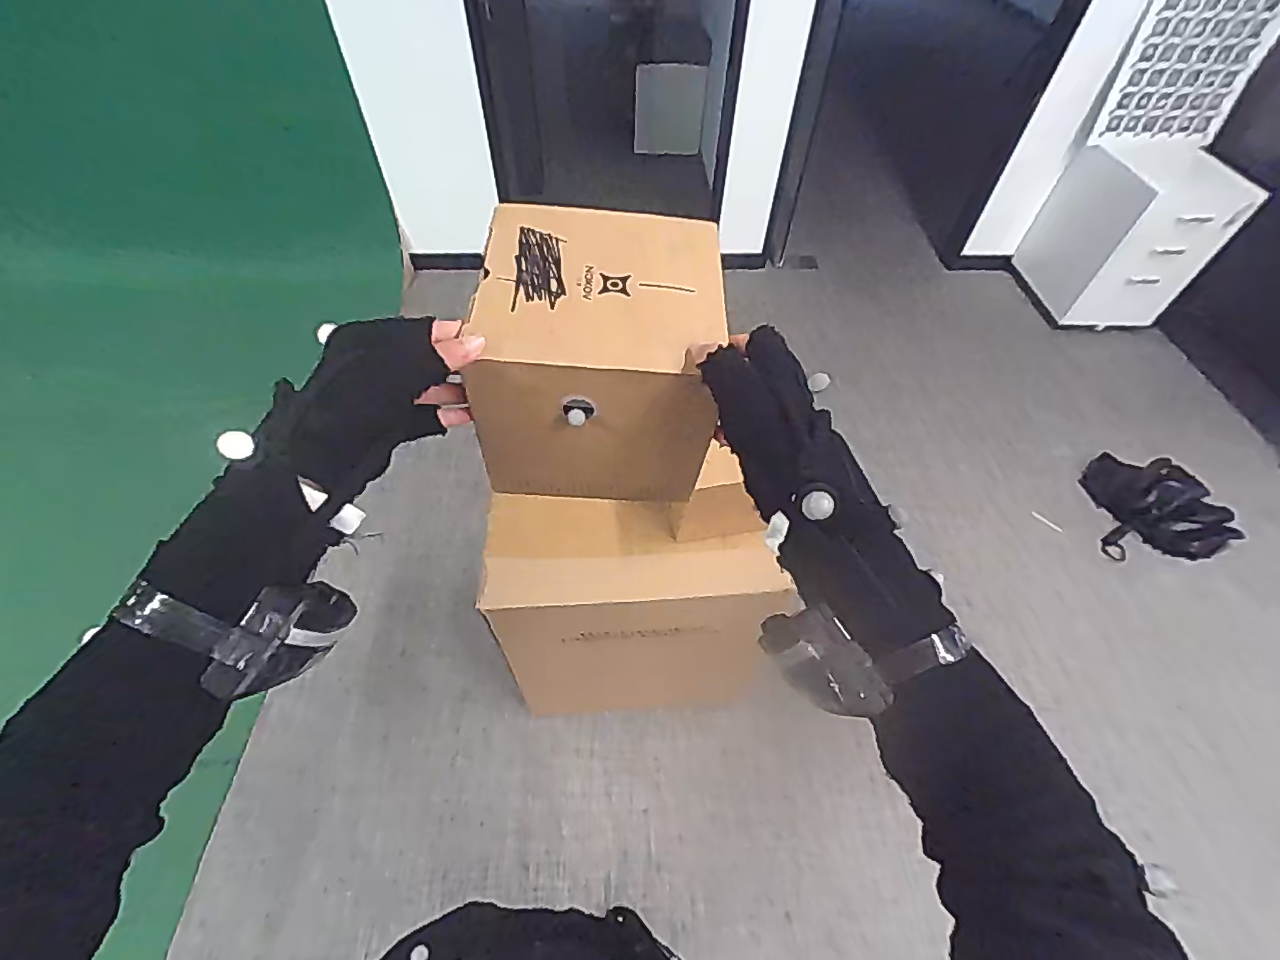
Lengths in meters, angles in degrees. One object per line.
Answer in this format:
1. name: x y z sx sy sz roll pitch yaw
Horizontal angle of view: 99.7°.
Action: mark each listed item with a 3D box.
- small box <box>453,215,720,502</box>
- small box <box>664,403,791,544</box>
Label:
1. small box: -0.038 -0.093 0.457 0.179 0.176 0.168 3 58 -4
2. small box: 0.133 -0.008 0.934 0.179 0.176 0.168 -10 55 -7
